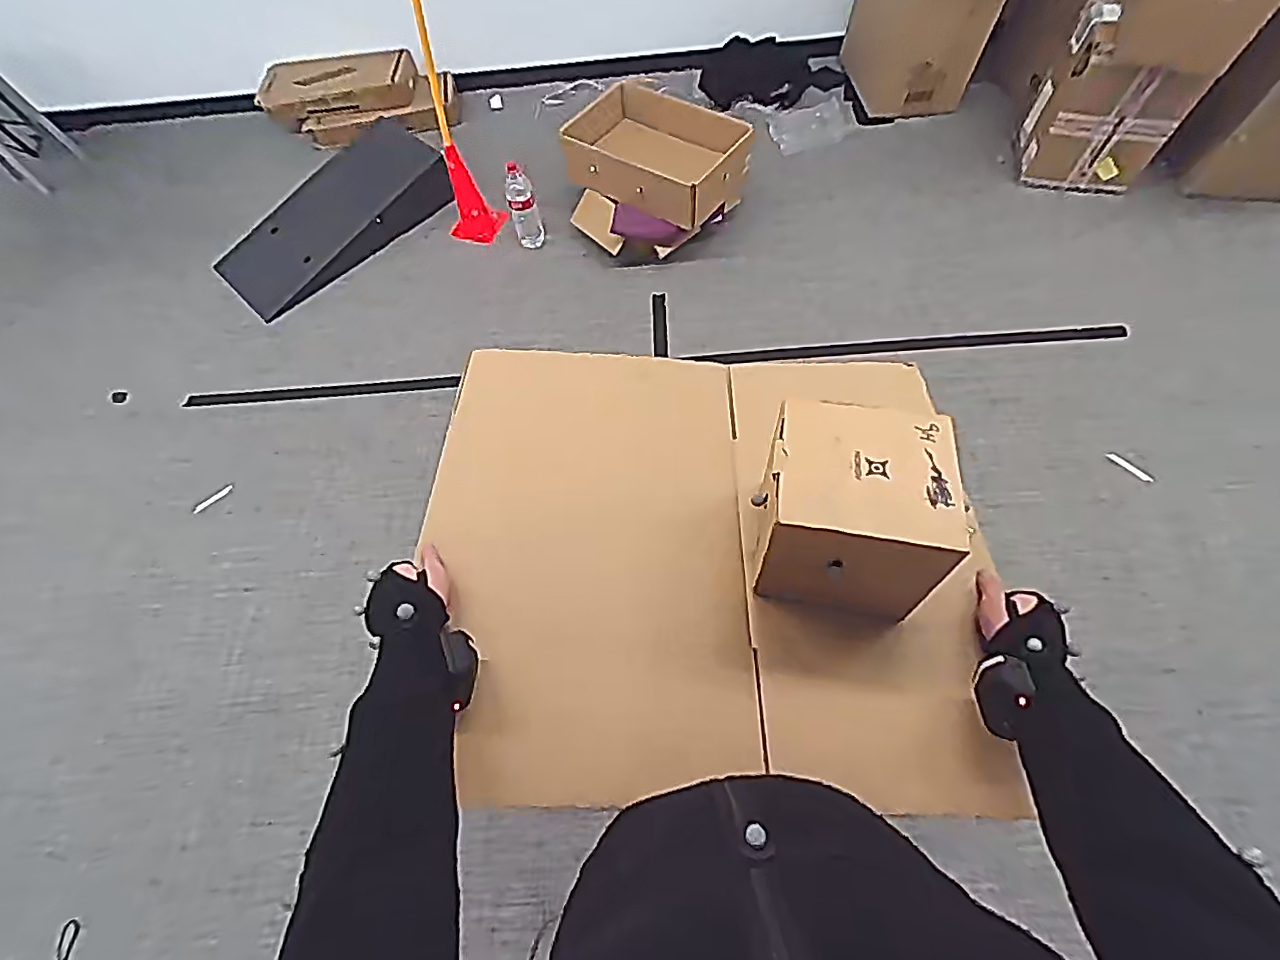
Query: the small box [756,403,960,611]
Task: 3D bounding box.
[{"bbox_3d":[0.231,0.035,0.616,0.179,0.176,0.168,8,57,10],"label":"small box"}]
